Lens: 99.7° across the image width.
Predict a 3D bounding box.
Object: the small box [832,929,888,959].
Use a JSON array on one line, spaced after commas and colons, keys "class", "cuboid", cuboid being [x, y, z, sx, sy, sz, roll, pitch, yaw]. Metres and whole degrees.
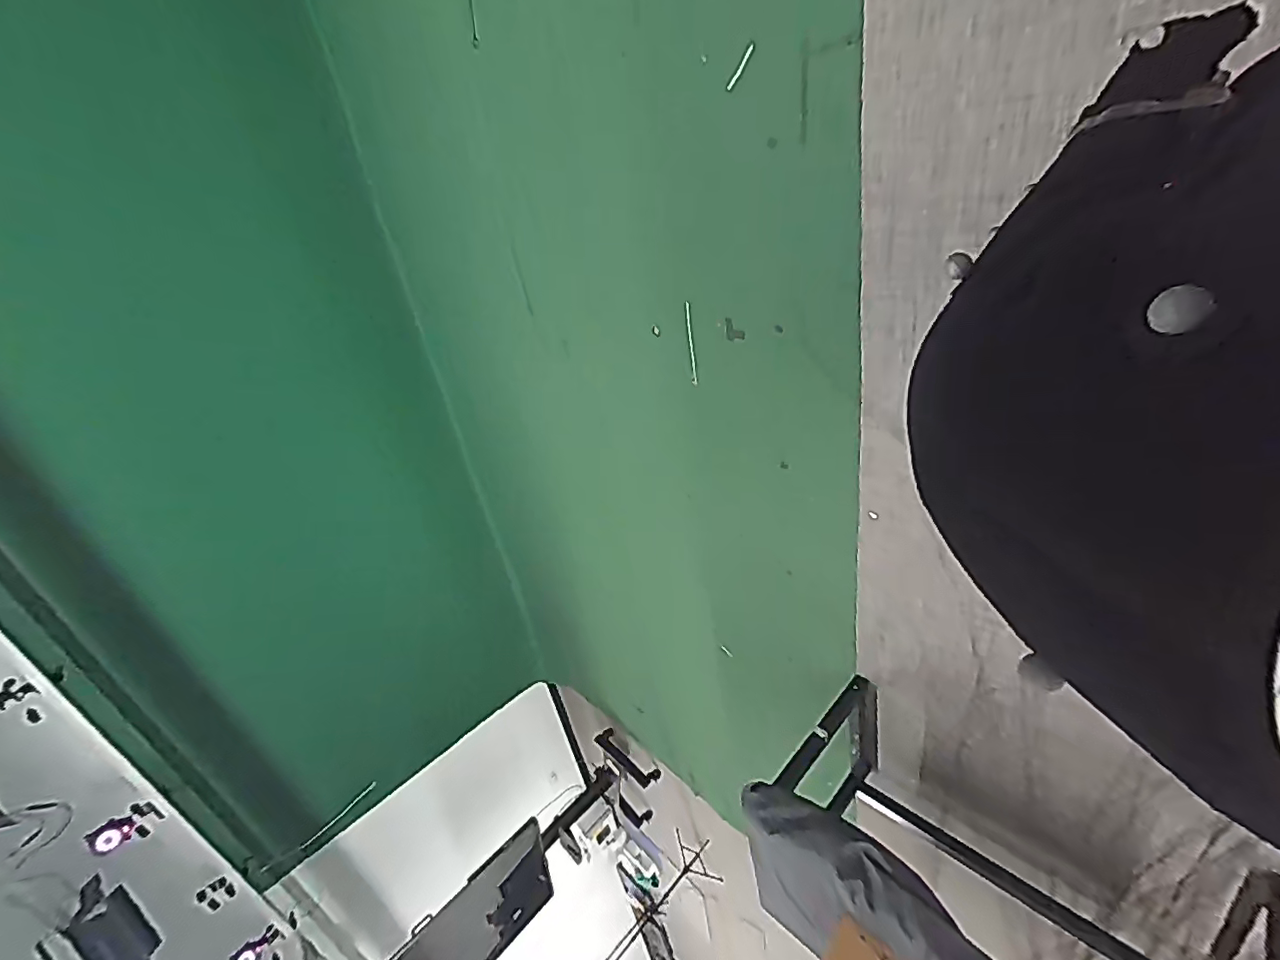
[{"class": "small box", "cuboid": [0.620, 1.413, 1.502, 0.168, 0.176, 0.179, 19, 131, 44]}]
